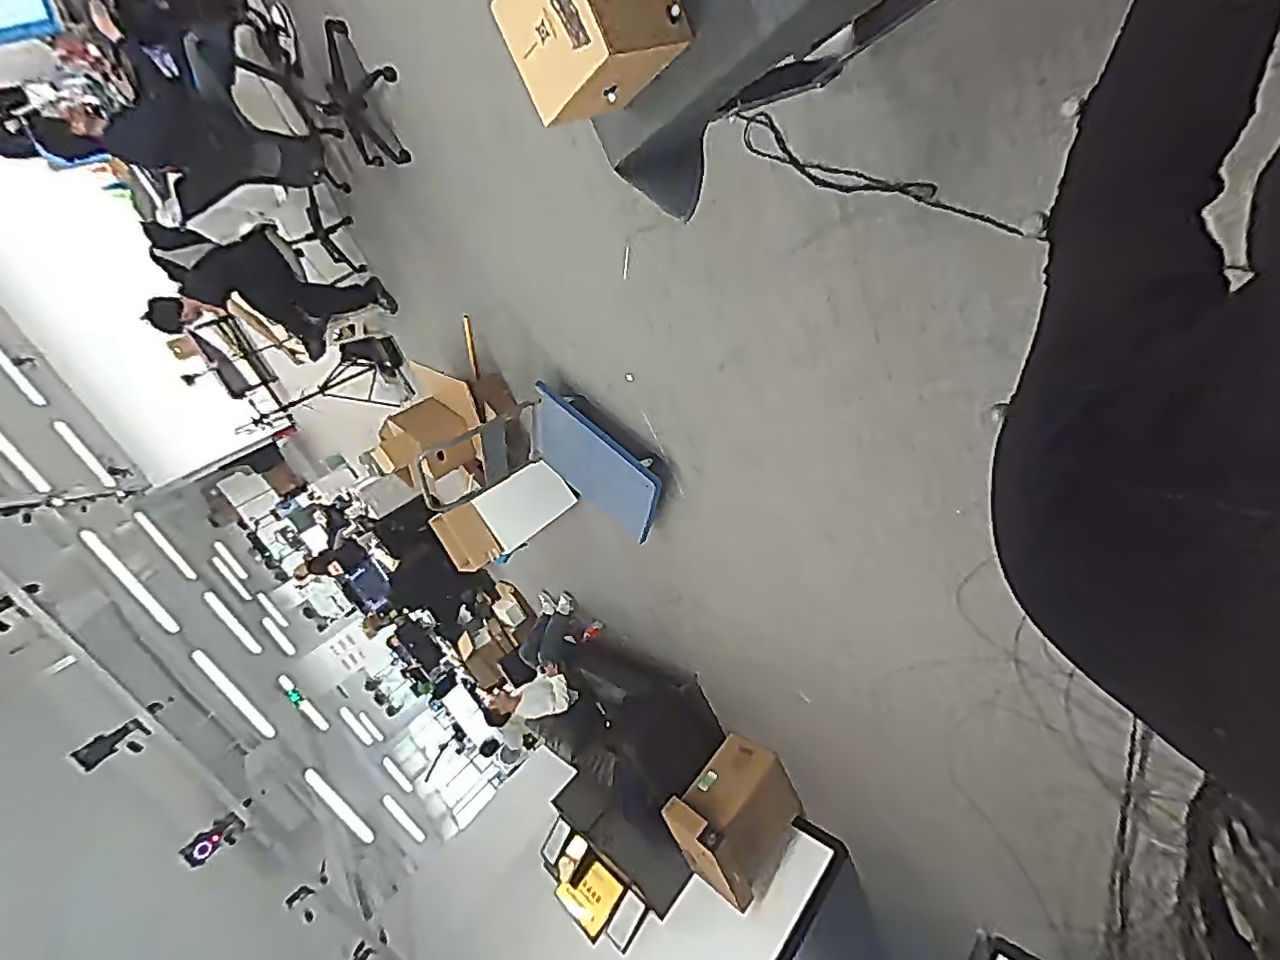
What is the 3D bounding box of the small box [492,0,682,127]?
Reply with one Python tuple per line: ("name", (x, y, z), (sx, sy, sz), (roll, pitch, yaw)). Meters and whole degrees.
("small box", (-0.065, -0.634, 0.747), (0.179, 0.176, 0.168), (-1, 121, 53))
